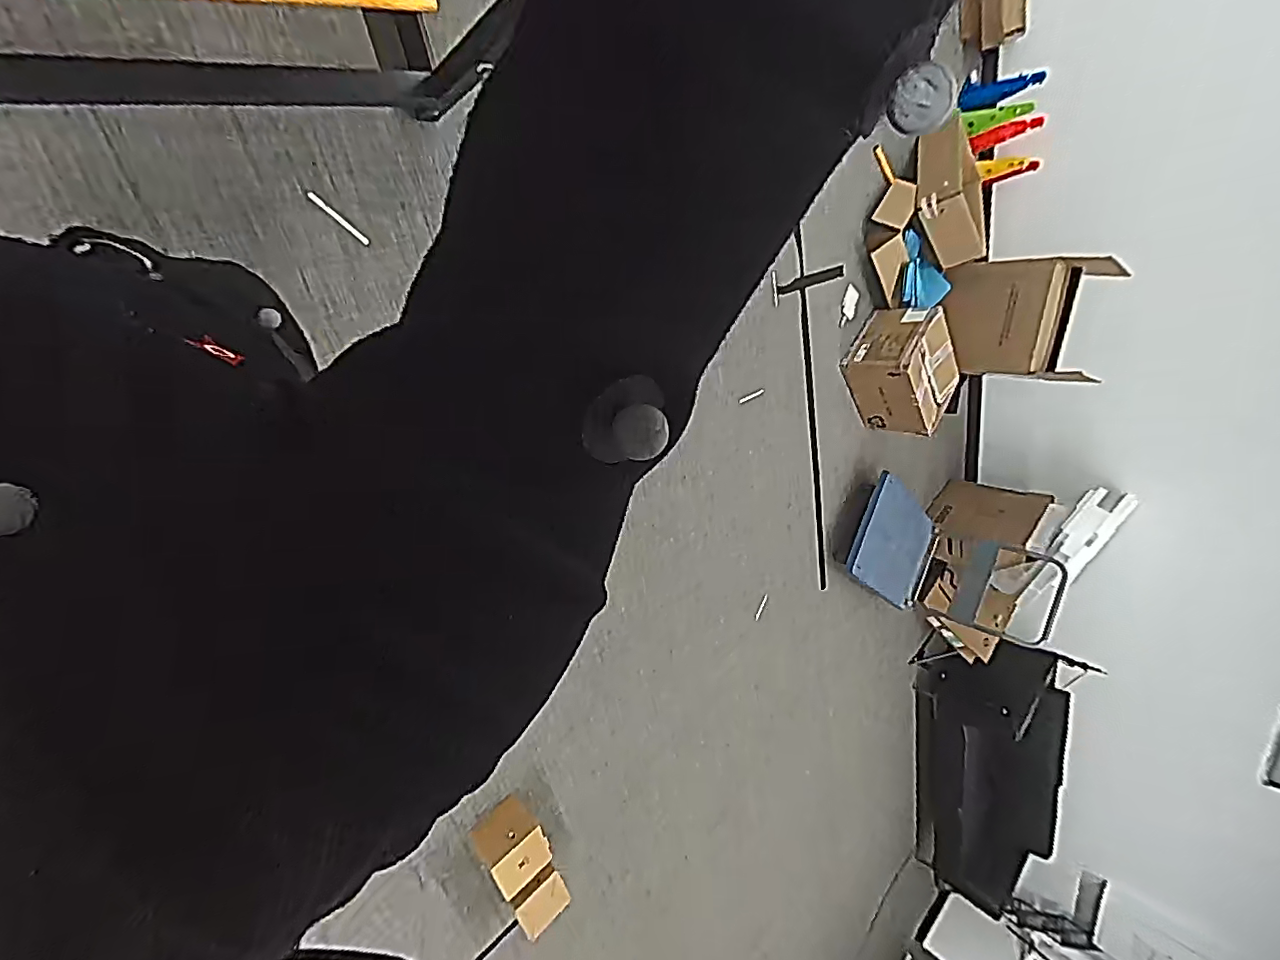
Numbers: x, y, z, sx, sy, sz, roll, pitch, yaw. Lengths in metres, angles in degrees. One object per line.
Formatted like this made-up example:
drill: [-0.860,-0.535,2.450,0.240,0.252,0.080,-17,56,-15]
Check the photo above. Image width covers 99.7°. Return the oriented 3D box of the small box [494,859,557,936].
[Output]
small box: [-0.401,1.360,1.809,0.168,0.176,0.179,-31,120,-34]

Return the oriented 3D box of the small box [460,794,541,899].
small box: [-0.451,1.159,1.721,0.179,0.176,0.168,-30,119,-34]
